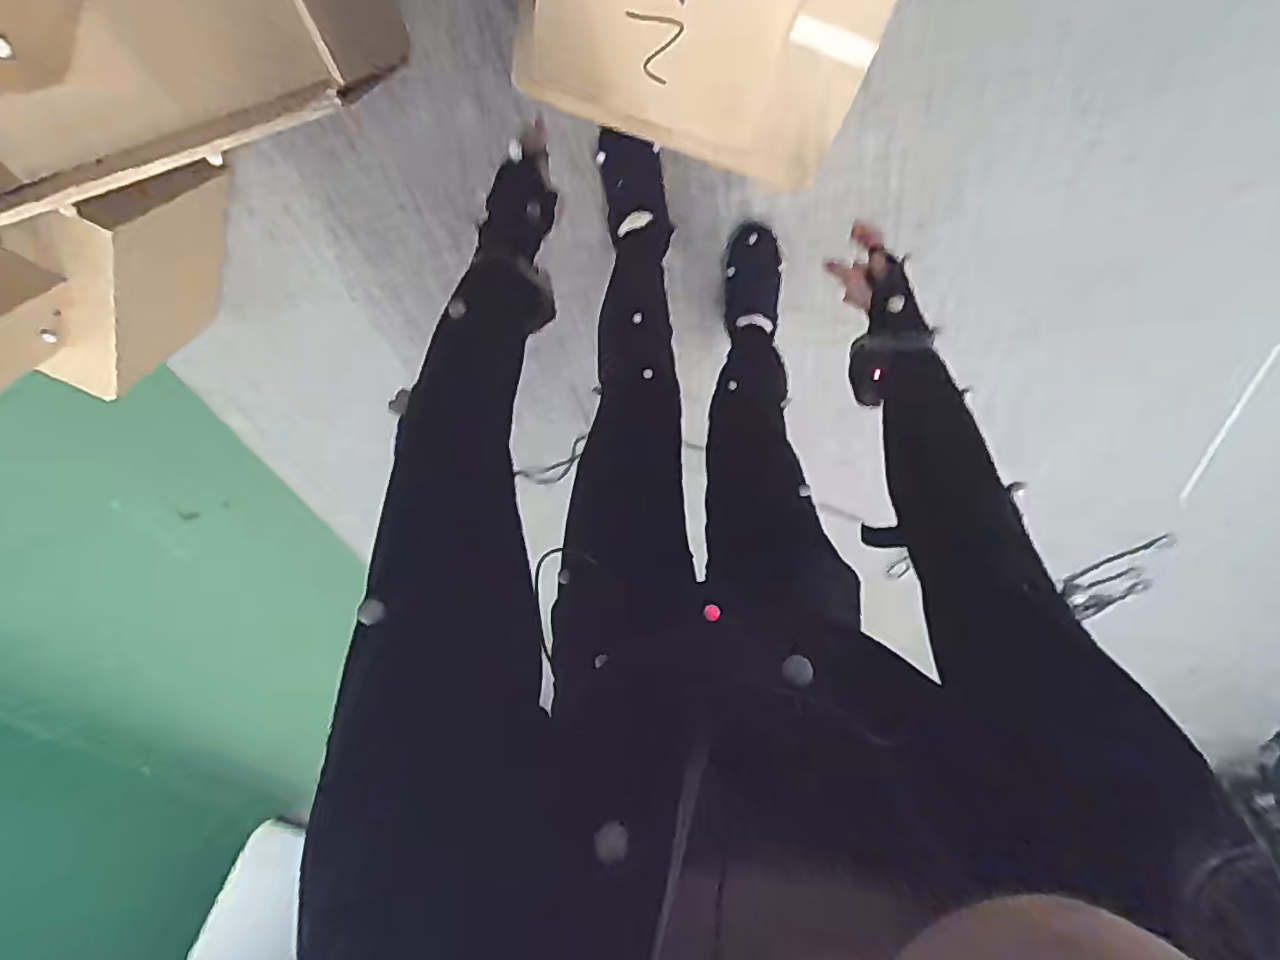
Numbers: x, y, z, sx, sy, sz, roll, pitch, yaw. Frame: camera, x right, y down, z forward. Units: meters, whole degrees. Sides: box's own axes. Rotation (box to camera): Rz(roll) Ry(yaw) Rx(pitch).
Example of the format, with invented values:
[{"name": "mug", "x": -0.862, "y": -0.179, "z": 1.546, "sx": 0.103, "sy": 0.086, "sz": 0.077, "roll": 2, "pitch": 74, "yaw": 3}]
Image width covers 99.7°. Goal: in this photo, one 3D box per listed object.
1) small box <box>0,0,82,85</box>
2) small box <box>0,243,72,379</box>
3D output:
[{"name": "small box", "x": -0.615, "y": -0.460, "z": 0.444, "sx": 0.179, "sy": 0.176, "sz": 0.168, "roll": -32, "pitch": 125, "yaw": 32}, {"name": "small box", "x": -1.033, "y": -0.266, "z": 0.816, "sx": 0.179, "sy": 0.176, "sz": 0.168, "roll": 32, "pitch": 129, "yaw": -24}]
